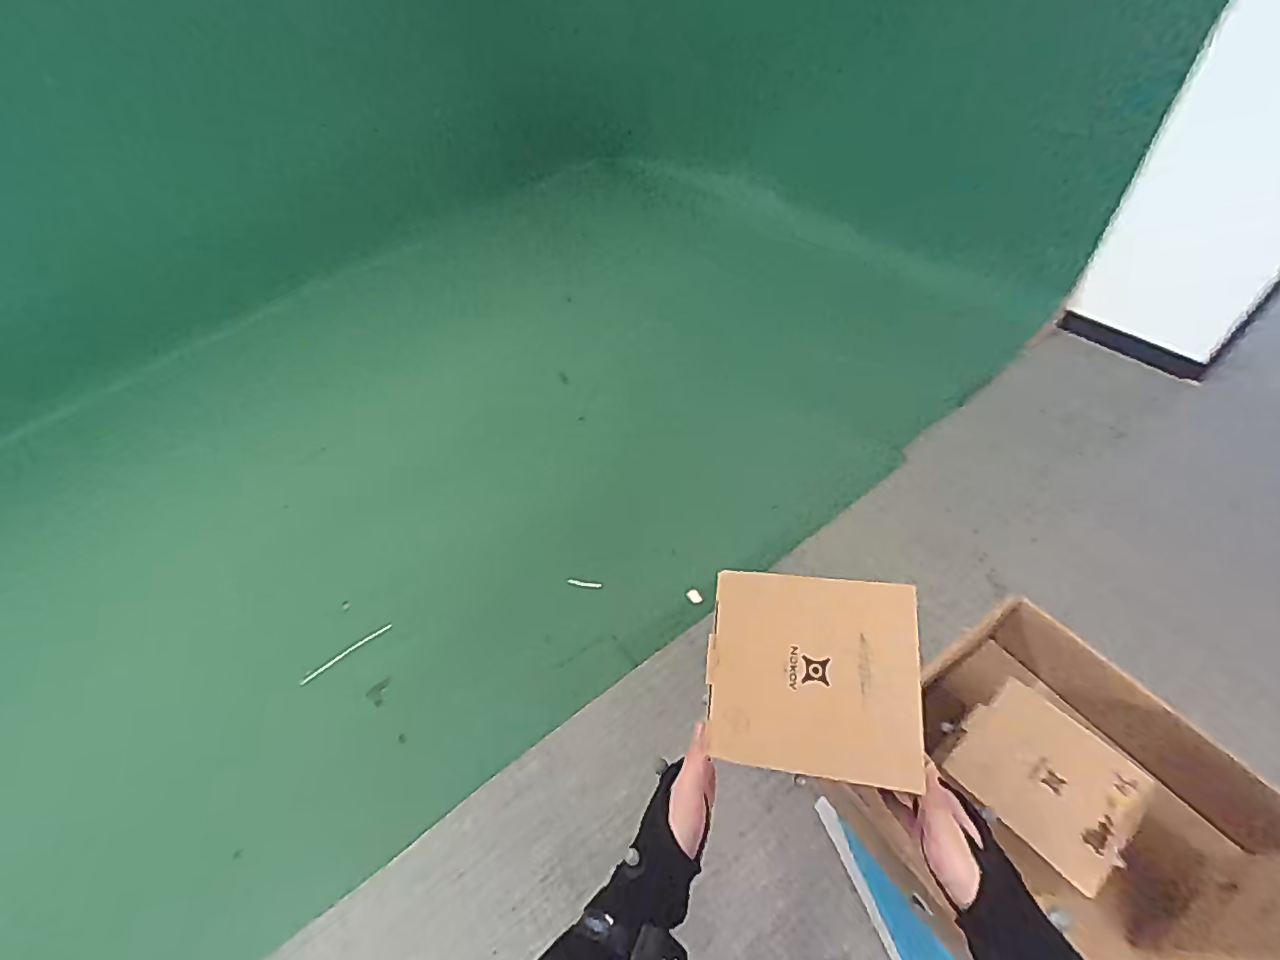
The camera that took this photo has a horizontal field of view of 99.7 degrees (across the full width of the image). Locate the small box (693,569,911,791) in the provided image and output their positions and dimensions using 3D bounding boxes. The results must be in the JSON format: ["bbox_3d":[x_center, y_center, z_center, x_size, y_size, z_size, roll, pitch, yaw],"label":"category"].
[{"bbox_3d":[0.157,0.194,0.542,0.179,0.176,0.168,3,69,14],"label":"small box"}]
